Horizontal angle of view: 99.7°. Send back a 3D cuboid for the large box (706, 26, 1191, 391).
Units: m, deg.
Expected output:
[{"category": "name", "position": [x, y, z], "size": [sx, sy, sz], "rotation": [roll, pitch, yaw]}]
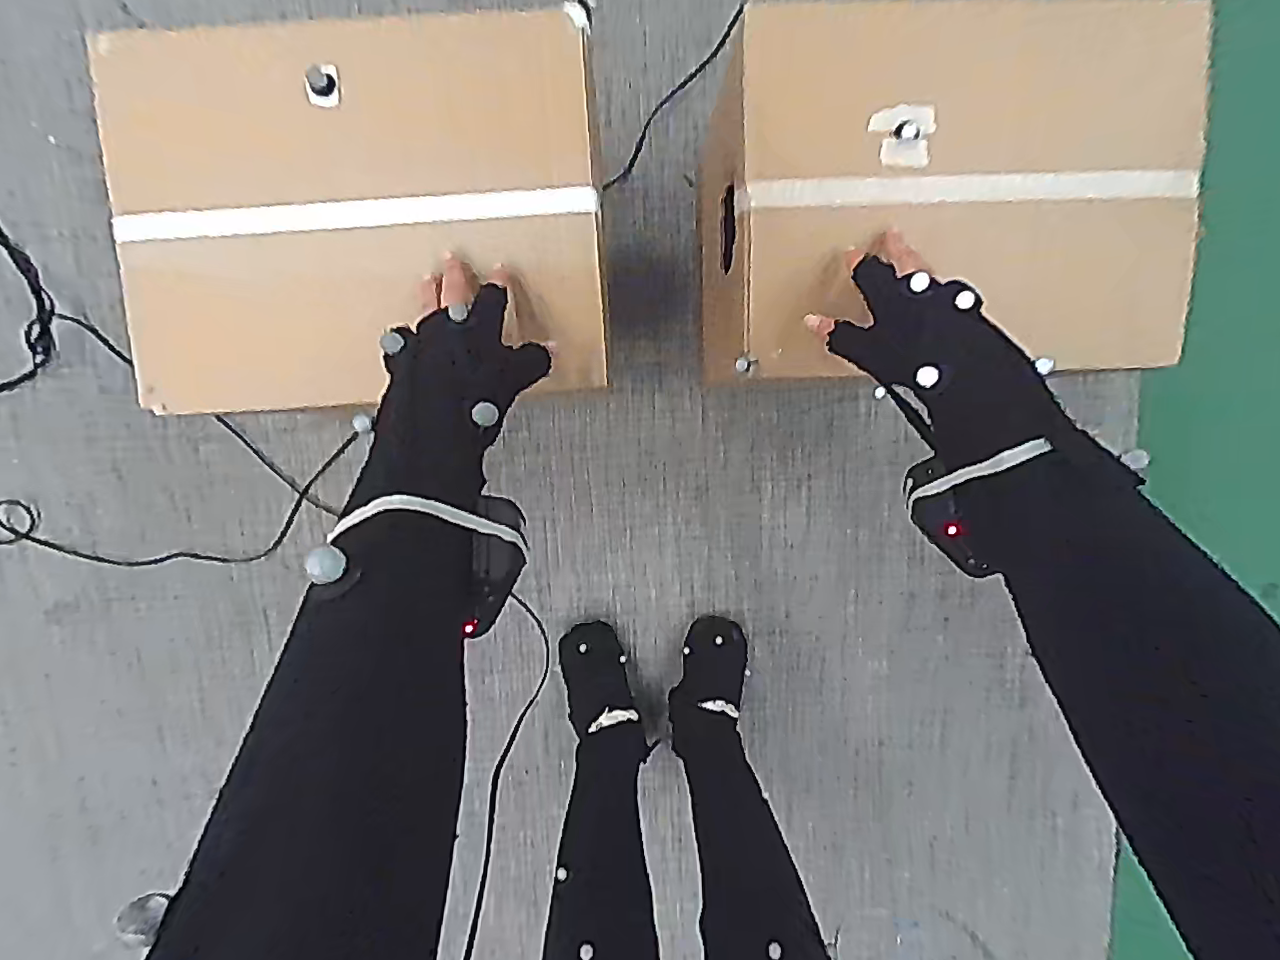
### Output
[{"category": "large box", "position": [0.299, -0.269, 0.649], "size": [0.408, 0.320, 0.320], "rotation": [-1, 97, -1]}]
